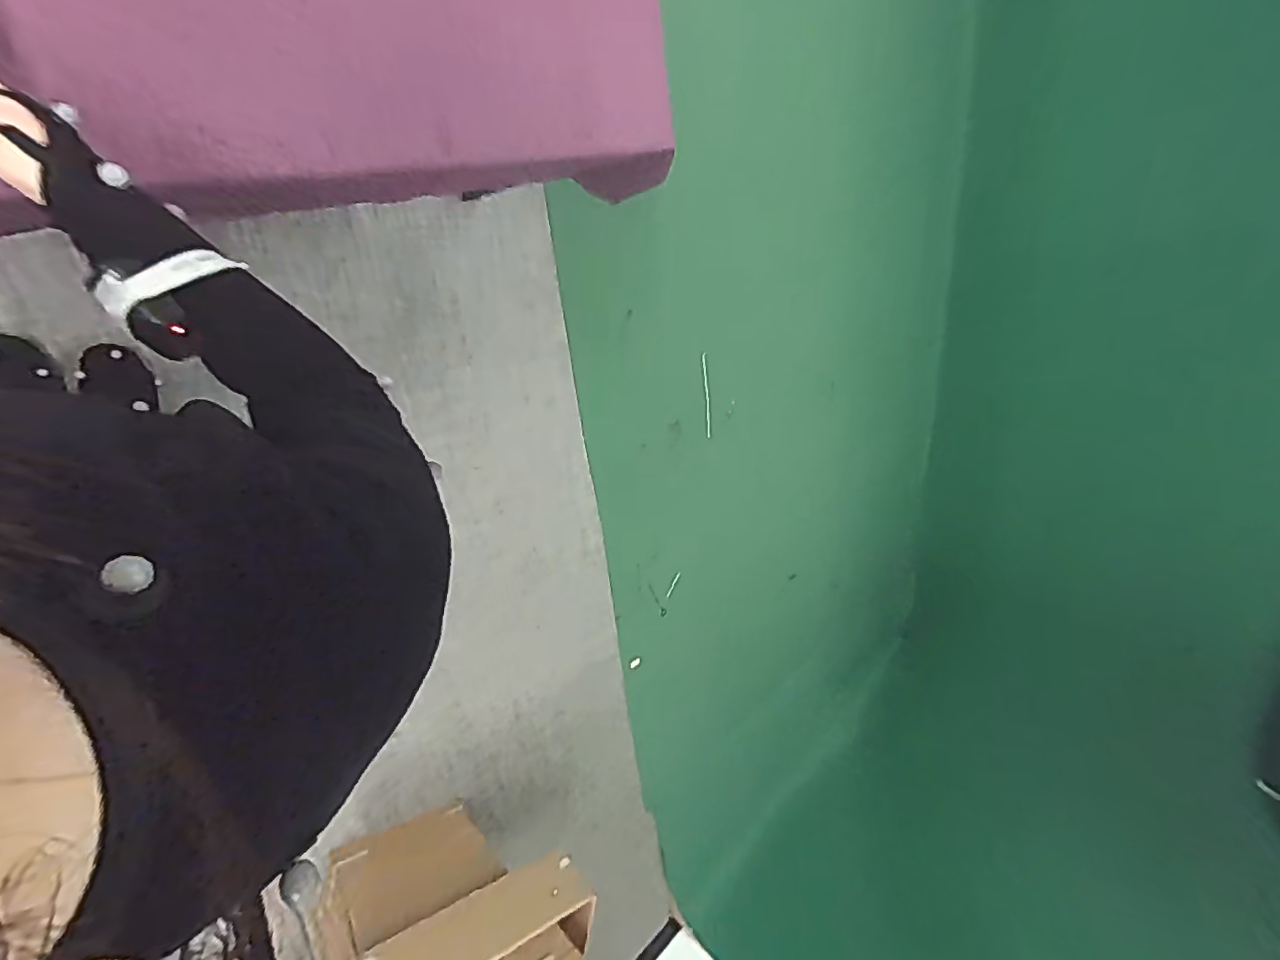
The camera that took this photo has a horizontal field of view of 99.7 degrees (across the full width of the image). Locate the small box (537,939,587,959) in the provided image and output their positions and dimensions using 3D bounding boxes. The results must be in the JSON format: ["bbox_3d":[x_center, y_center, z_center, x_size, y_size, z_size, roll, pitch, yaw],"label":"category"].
[{"bbox_3d":[-0.205,1.333,1.369,0.179,0.176,0.168,1,102,-43],"label":"small box"}]
